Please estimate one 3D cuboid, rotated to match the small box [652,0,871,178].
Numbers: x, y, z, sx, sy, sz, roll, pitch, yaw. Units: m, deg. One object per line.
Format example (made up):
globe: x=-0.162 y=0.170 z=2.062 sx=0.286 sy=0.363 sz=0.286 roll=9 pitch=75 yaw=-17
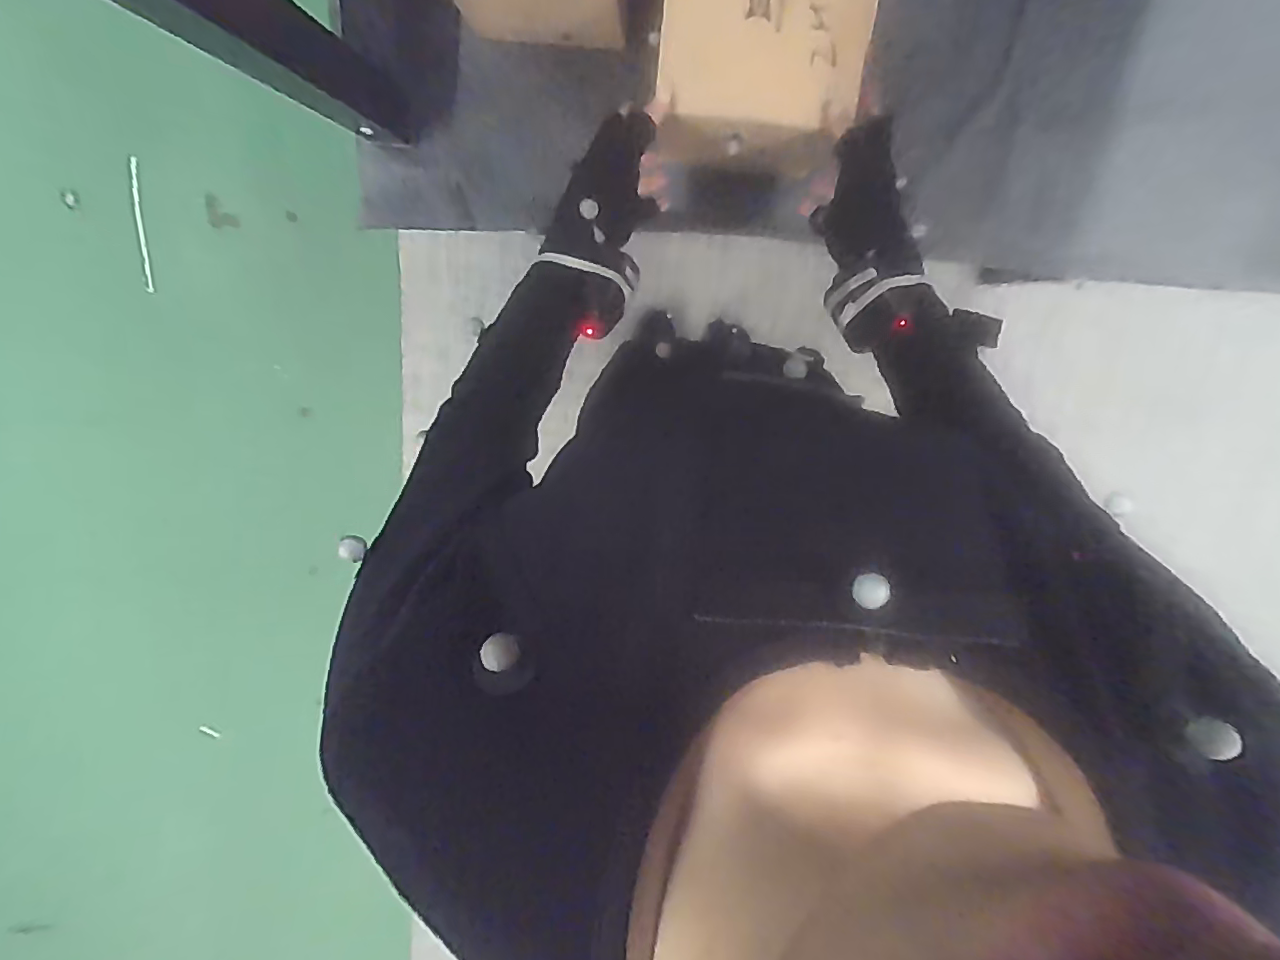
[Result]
small box: x=0.108 y=-0.413 z=0.533 sx=0.179 sy=0.176 sz=0.168 roll=6 pitch=108 yaw=0
